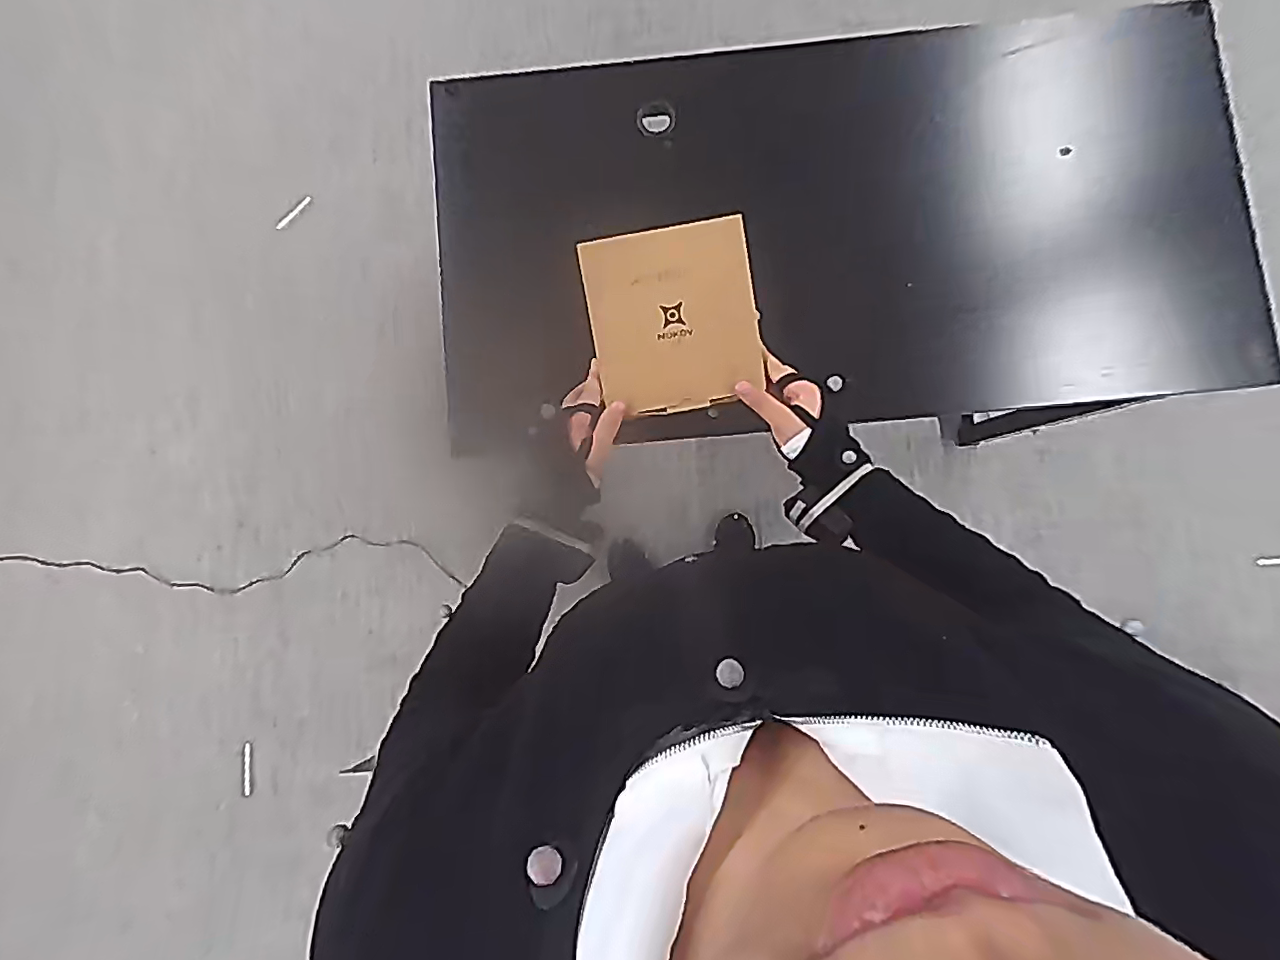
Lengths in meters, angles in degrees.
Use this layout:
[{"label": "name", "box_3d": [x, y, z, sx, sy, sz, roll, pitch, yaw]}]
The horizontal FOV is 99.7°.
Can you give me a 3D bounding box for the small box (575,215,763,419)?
[{"label": "small box", "box_3d": [0.030, -0.168, 0.612, 0.168, 0.176, 0.179, -10, 95, 0]}]
